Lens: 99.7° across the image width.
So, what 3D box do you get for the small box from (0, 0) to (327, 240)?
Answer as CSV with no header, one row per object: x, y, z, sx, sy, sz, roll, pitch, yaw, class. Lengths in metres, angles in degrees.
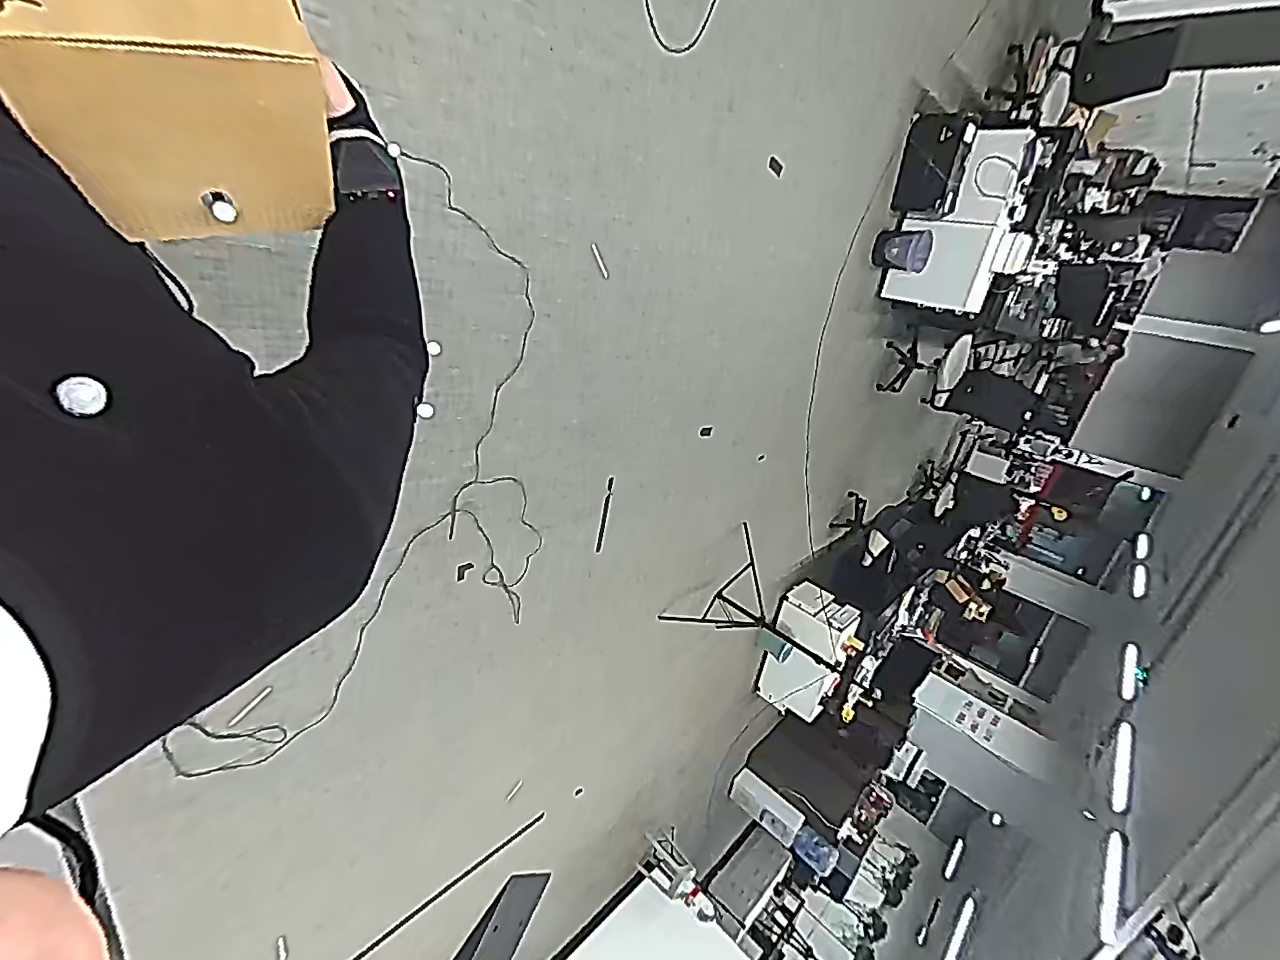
-0.365,-0.316,0.426,0.179,0.168,0.176,-21,172,-30,small box
